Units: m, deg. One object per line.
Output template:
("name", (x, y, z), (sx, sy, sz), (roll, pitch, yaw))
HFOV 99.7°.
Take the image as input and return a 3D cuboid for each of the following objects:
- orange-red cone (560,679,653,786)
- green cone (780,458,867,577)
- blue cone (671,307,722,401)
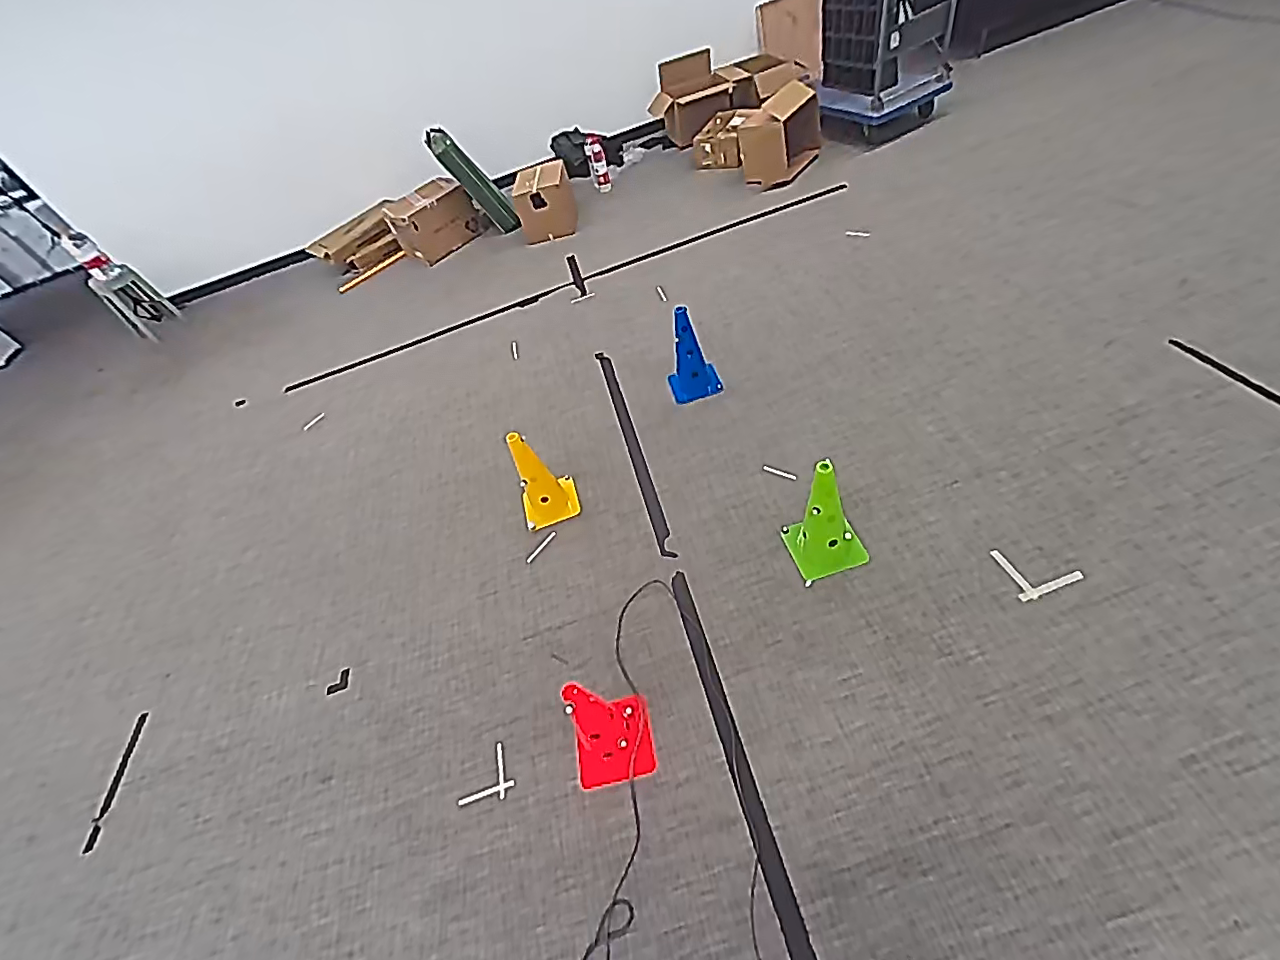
("orange-red cone", (-0.113, 0.559, 1.277), (0.199, 0.360, 0.198), (-17, 46, 5))
("green cone", (0.507, 0.079, 1.493), (0.202, 0.368, 0.200), (-18, 47, 0))
("blue cone", (0.194, -0.509, 2.128), (0.192, 0.380, 0.193), (-16, 47, 3))
